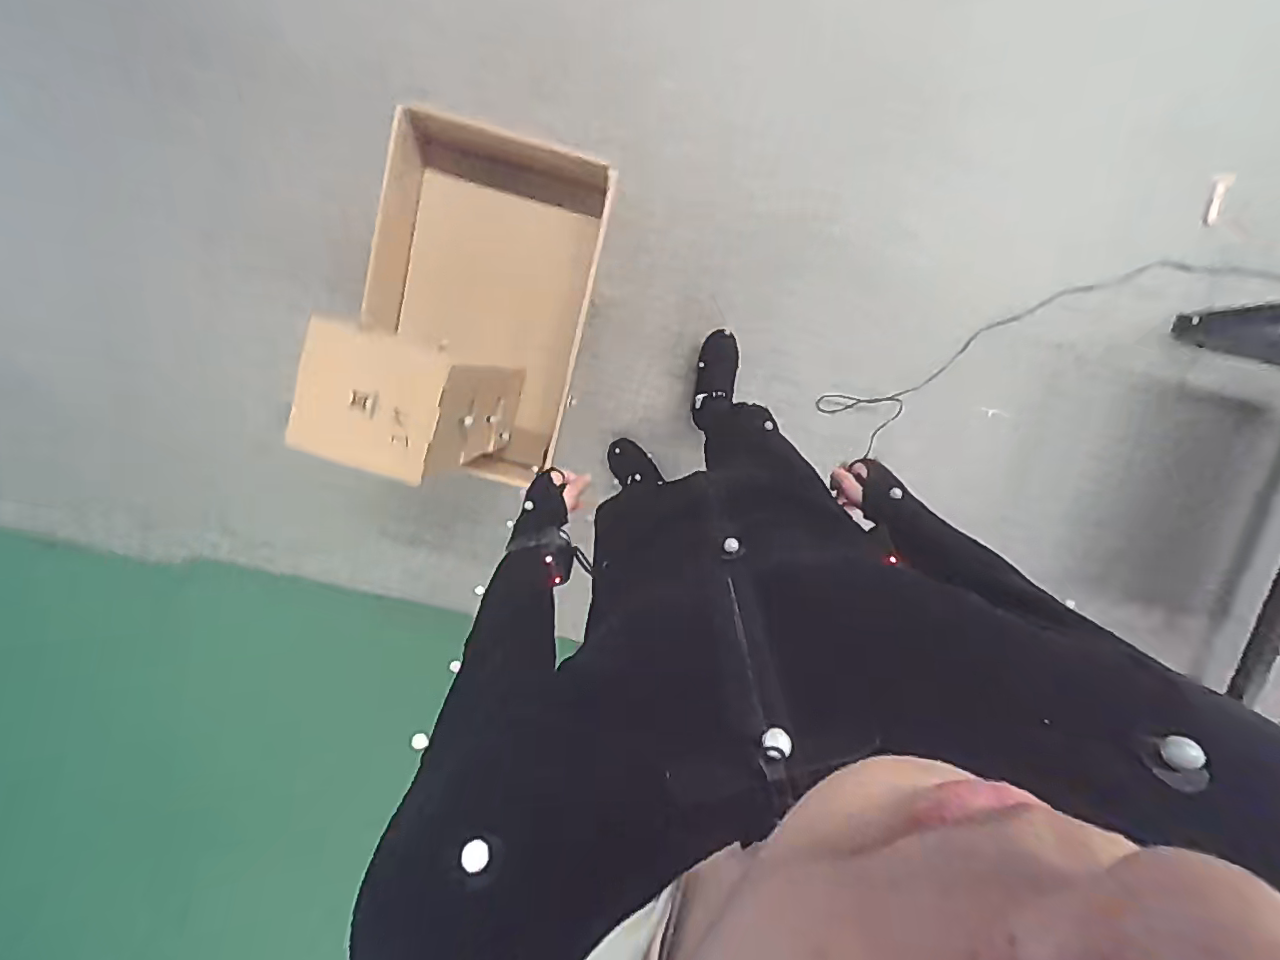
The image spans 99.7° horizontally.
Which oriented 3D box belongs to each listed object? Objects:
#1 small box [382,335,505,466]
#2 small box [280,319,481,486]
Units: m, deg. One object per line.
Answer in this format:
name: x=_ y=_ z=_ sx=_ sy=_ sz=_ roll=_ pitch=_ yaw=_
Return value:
small box: x=-0.345 y=-0.132 z=0.908 sx=0.179 sy=0.176 sz=0.168 roll=16 pitch=99 yaw=-4
small box: x=-0.343 y=-0.105 z=0.745 sx=0.179 sy=0.176 sz=0.168 roll=18 pitch=99 yaw=-4
